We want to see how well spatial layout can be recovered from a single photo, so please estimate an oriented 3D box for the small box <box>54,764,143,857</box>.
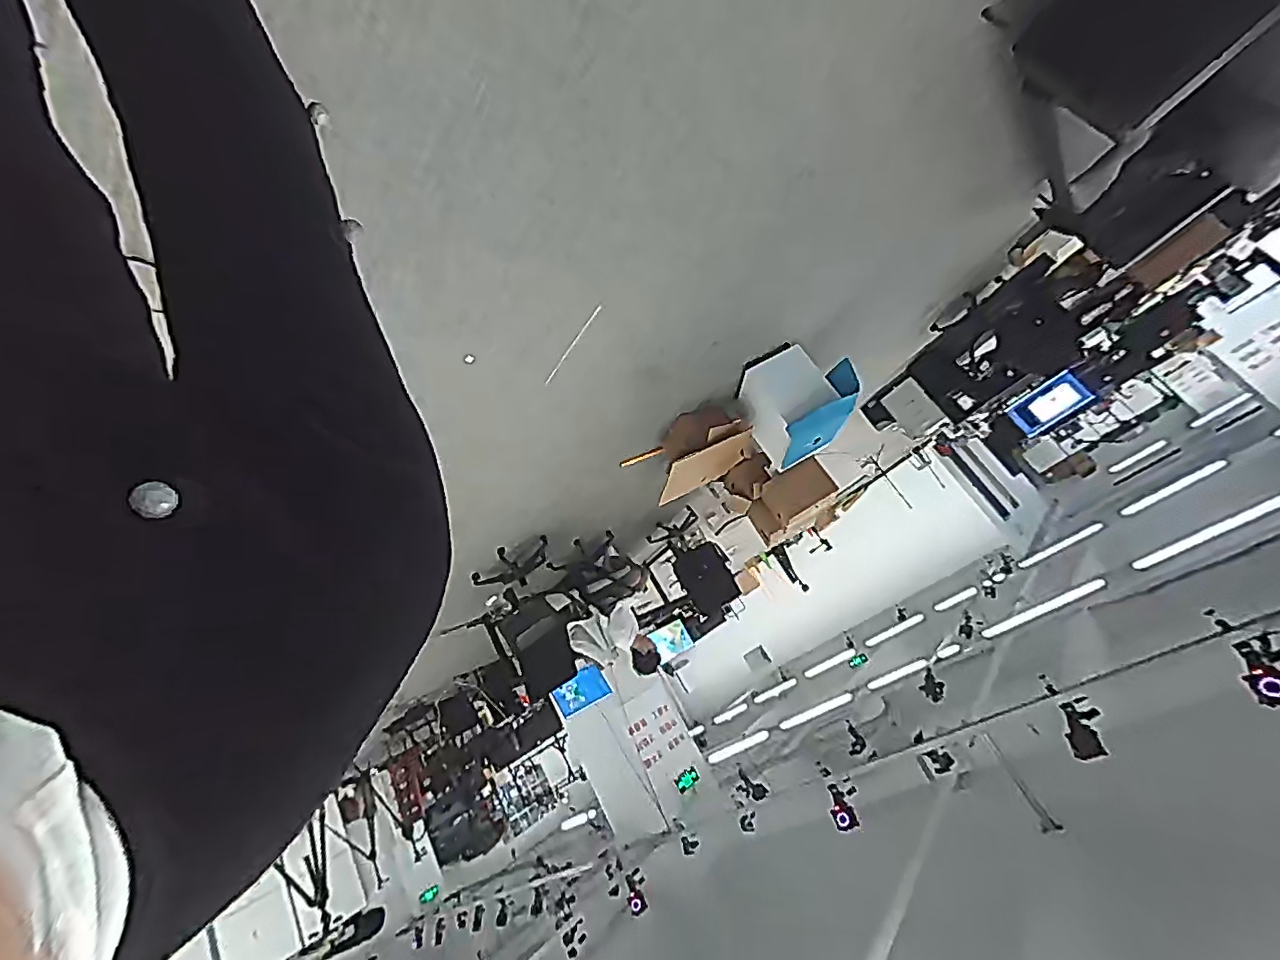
[{"bbox_3d":[-1.627,0.987,1.628,0.168,0.176,0.179,-11,152,-46],"label":"small box"}]
